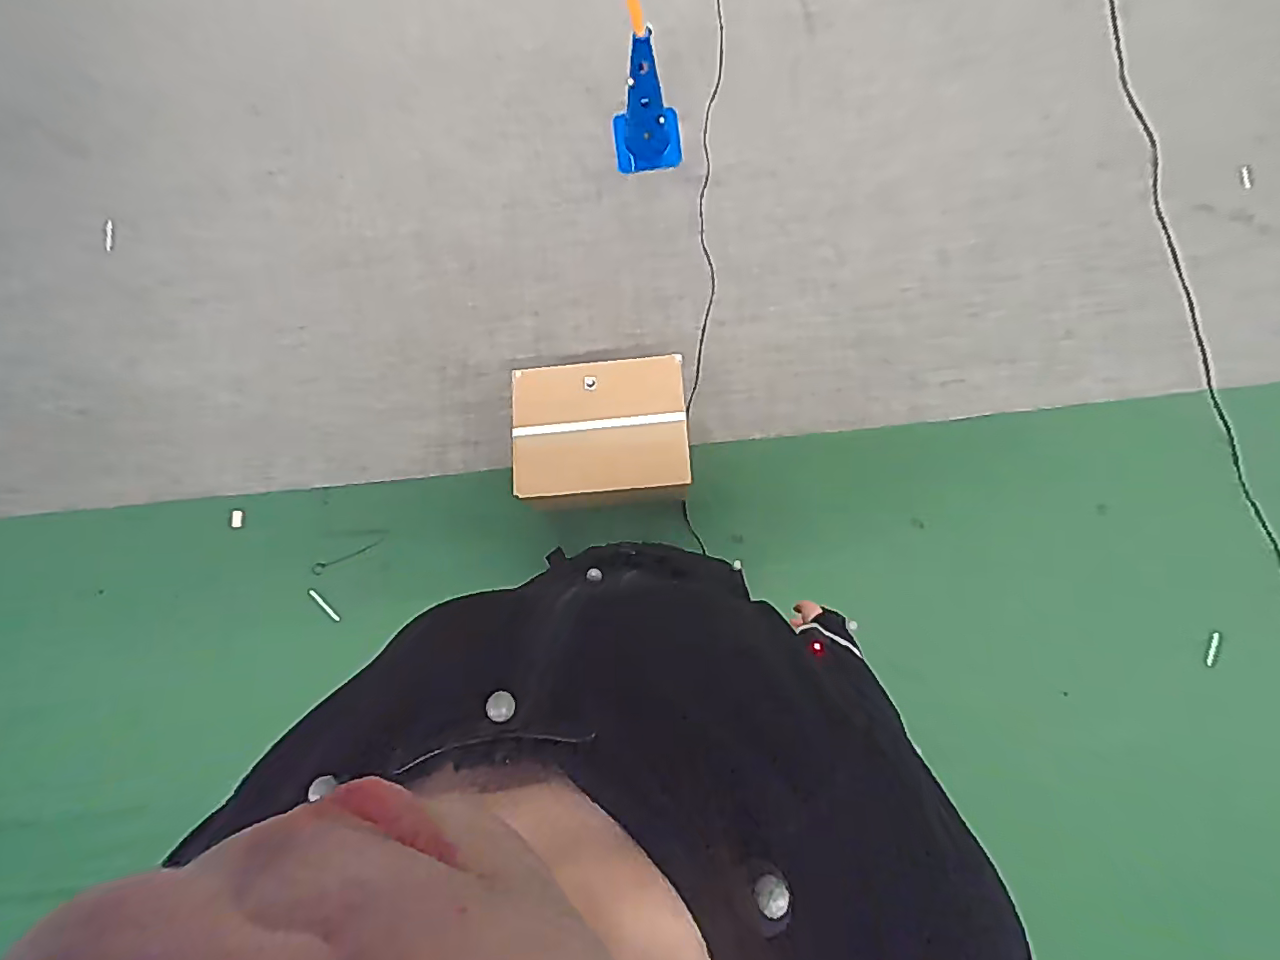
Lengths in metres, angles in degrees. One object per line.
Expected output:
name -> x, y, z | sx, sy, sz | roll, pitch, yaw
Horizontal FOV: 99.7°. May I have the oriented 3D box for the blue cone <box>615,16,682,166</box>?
blue cone -> 0.014, -1.071, 1.485 | 0.193, 0.380, 0.192 | -9, 82, 3
